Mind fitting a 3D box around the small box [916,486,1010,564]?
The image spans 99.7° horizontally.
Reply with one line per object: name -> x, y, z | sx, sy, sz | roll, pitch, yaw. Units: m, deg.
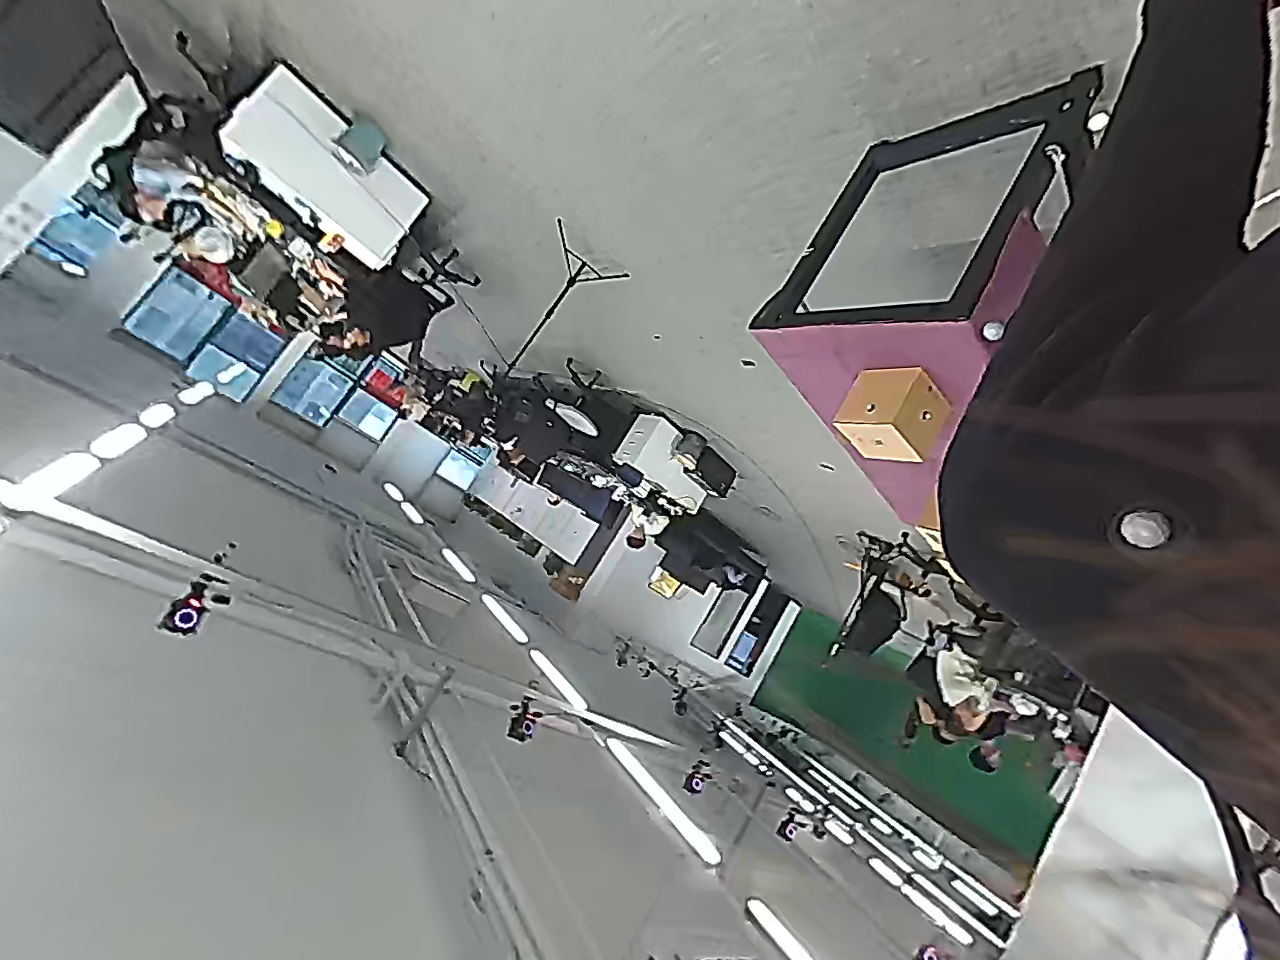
small box -> 1.015, 0.135, 1.696 | 0.168, 0.176, 0.179 | 37, 169, -31

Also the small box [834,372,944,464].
small box -> 0.637, -0.161, 1.369 | 0.168, 0.176, 0.179 | 37, 170, -28
